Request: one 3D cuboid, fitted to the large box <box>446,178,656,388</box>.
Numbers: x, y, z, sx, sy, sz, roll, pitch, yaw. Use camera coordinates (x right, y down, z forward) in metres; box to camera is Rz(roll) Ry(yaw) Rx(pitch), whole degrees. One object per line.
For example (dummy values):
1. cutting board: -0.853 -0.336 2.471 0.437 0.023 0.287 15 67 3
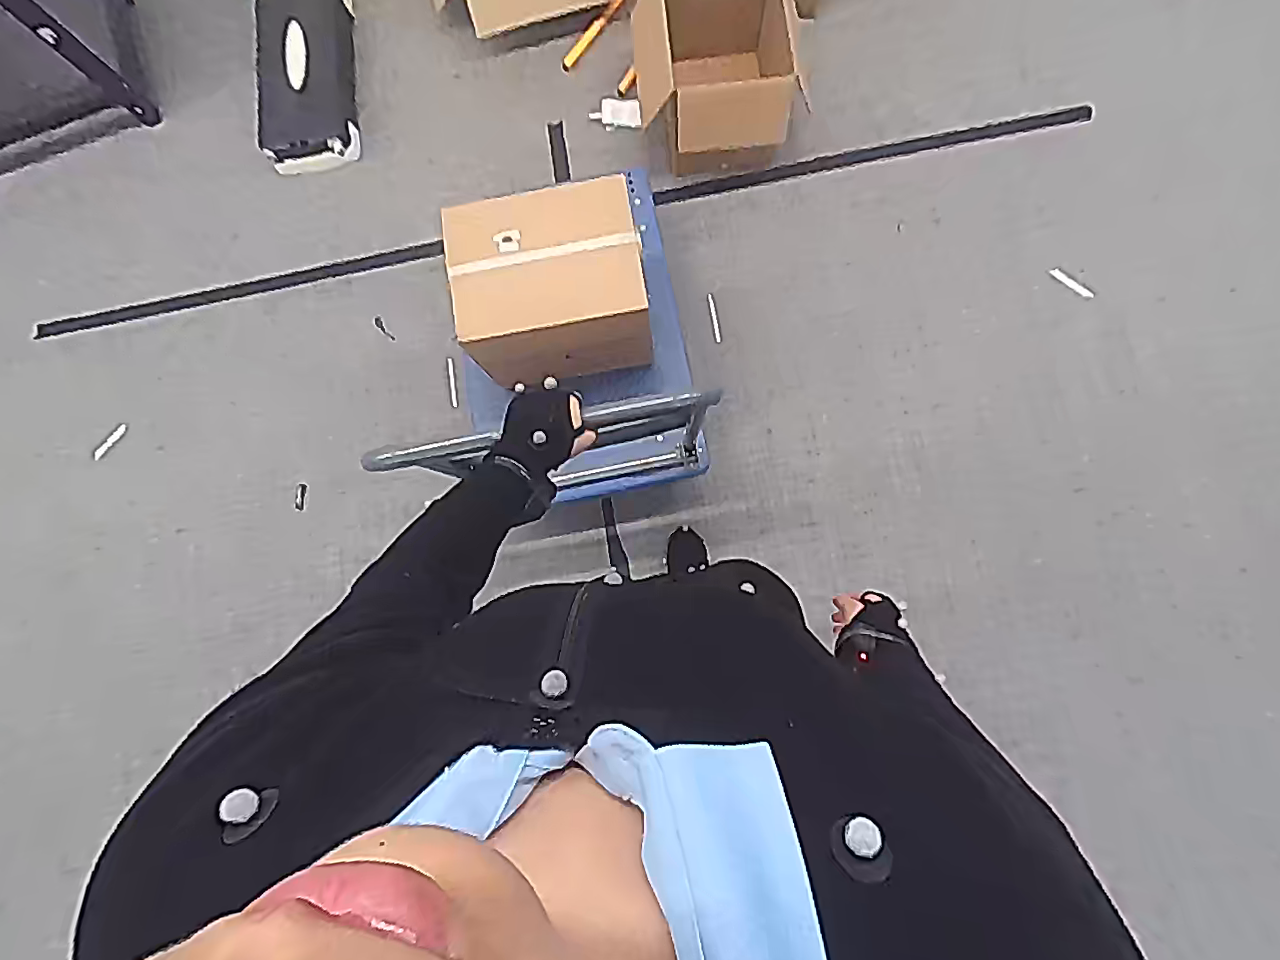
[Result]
1. large box: -0.191 -0.444 1.291 0.408 0.320 0.320 -10 79 3
